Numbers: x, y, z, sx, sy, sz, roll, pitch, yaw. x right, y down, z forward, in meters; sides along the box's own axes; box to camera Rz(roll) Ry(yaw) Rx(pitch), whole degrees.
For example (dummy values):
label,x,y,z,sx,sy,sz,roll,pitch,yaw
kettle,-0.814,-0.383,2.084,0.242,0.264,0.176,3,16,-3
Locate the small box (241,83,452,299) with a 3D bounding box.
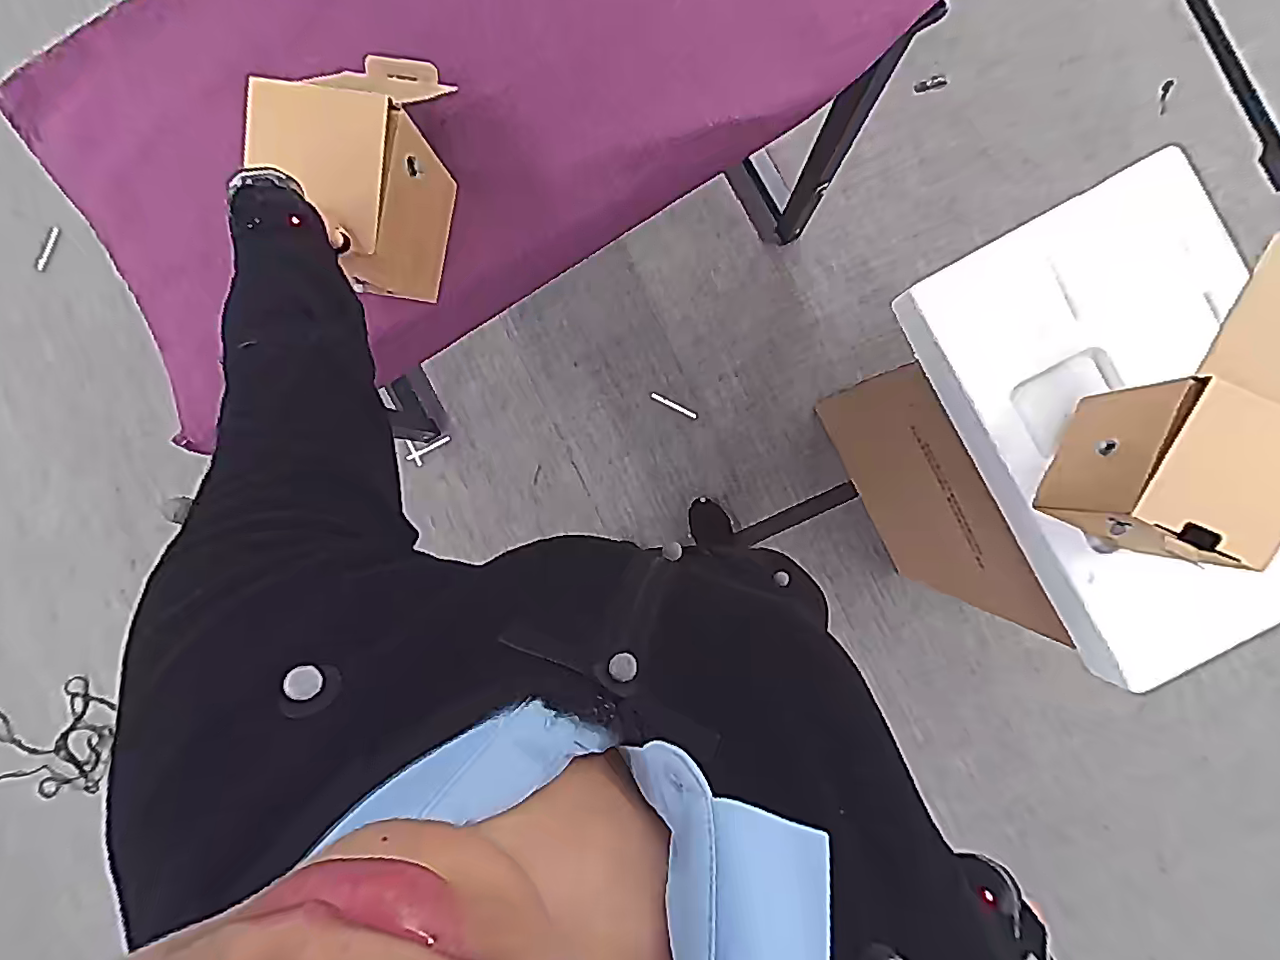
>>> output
label,x,y,z,sx,sy,sz,roll,pitch,yaw
small box,-0.361,-0.359,0.700,0.168,0.176,0.179,10,90,3
